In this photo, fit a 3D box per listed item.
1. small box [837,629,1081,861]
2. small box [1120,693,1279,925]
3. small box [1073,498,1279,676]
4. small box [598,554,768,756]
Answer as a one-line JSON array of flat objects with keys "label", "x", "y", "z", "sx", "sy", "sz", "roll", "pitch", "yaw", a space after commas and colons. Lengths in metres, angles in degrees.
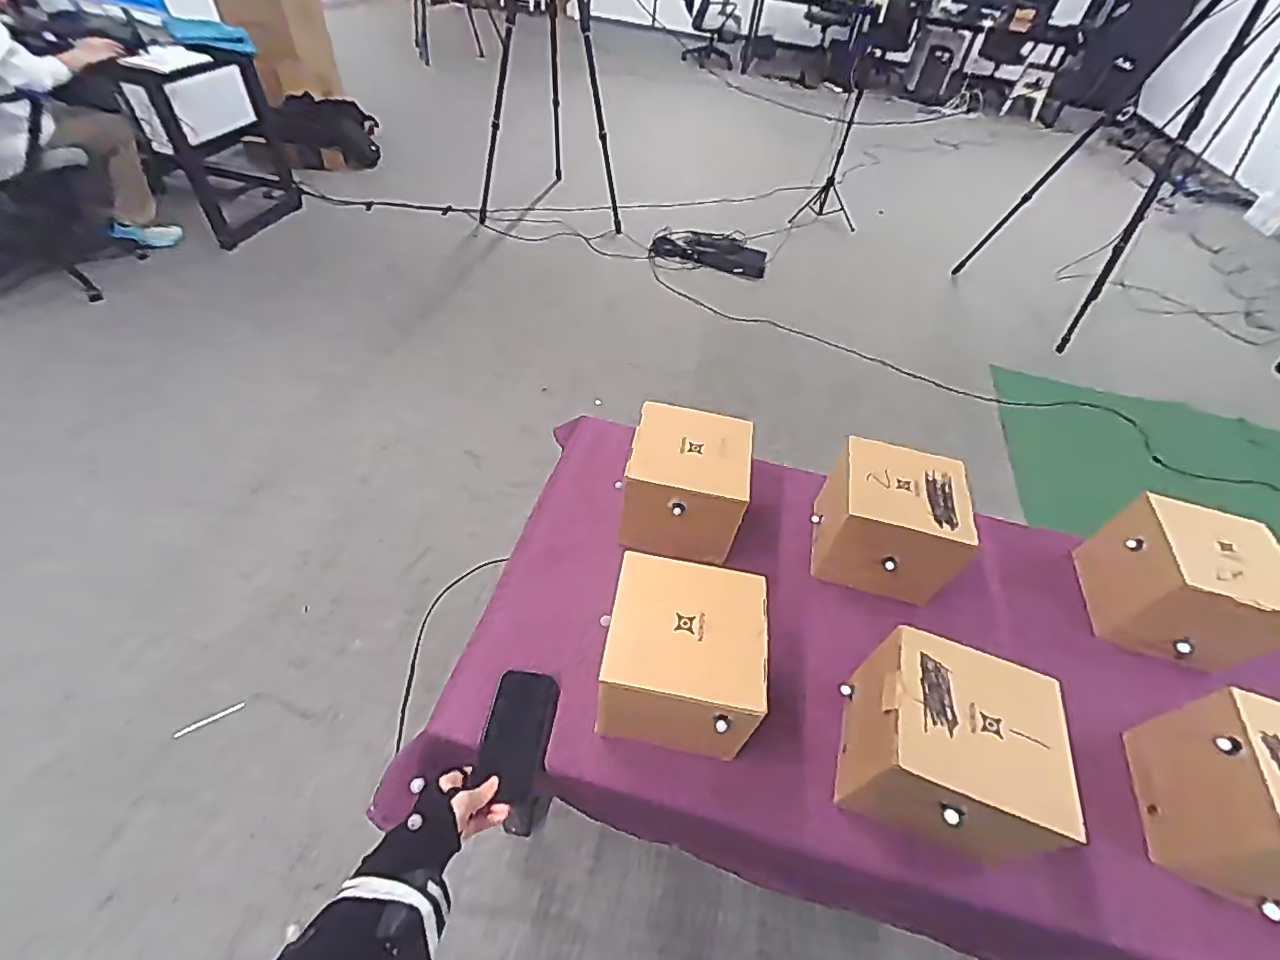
[{"label": "small box", "x": 0.346, "y": 0.308, "z": 0.623, "sx": 0.179, "sy": 0.176, "sz": 0.168, "roll": 20, "pitch": 49, "yaw": 9}, {"label": "small box", "x": 0.710, "y": 0.378, "z": 0.611, "sx": 0.179, "sy": 0.176, "sz": 0.168, "roll": 20, "pitch": 48, "yaw": 10}, {"label": "small box", "x": 0.805, "y": 0.162, "z": 0.818, "sx": 0.168, "sy": 0.176, "sz": 0.179, "roll": 17, "pitch": 49, "yaw": 8}, {"label": "small box", "x": 0.049, "y": 0.218, "z": 0.664, "sx": 0.179, "sy": 0.176, "sz": 0.168, "roll": 11, "pitch": 47, "yaw": 1}]
